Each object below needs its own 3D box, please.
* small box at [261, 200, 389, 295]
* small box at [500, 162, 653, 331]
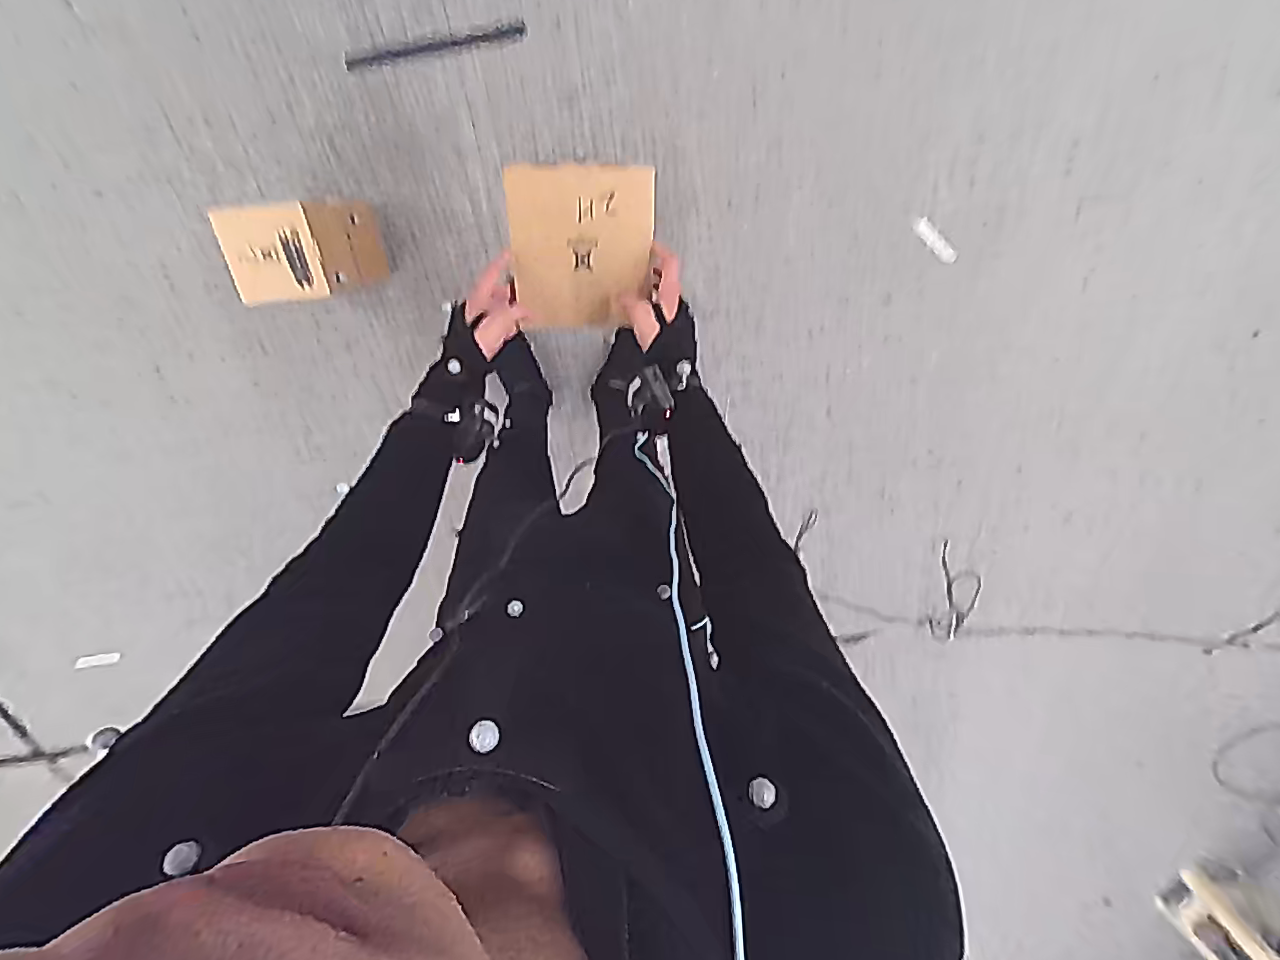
[{"bbox_3d":[-0.698,-0.529,1.224,0.168,0.176,0.179,-7,116,0],"label":"small box"},{"bbox_3d":[-0.076,-0.300,0.686,0.168,0.176,0.179,-3,121,-6],"label":"small box"}]
